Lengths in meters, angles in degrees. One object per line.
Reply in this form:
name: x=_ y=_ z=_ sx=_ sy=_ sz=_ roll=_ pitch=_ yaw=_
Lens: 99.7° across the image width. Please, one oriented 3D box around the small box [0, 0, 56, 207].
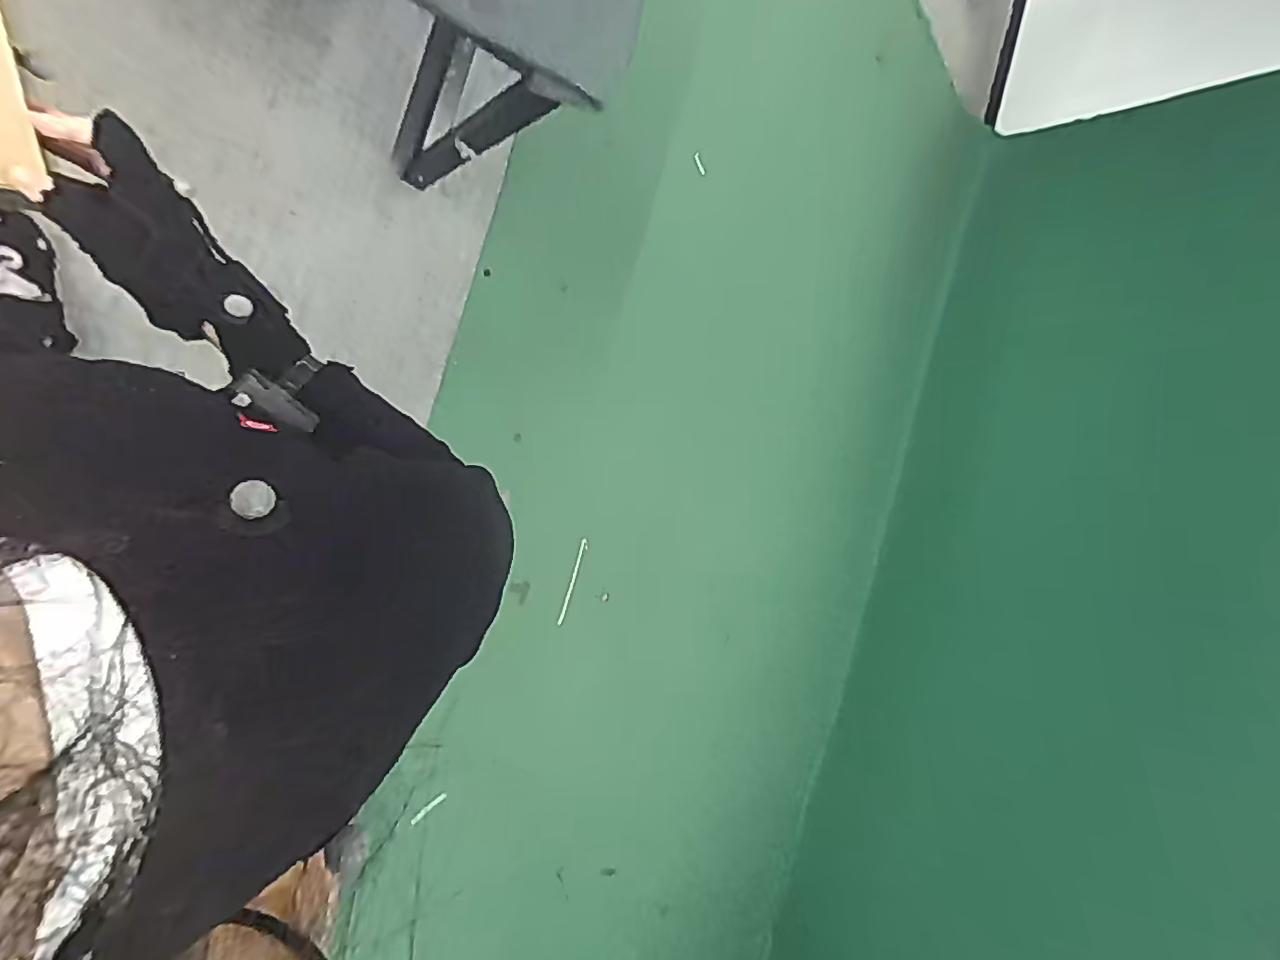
small box: x=-0.486 y=-0.271 z=0.316 sx=0.168 sy=0.176 sz=0.179 roll=-14 pitch=116 yaw=-40
